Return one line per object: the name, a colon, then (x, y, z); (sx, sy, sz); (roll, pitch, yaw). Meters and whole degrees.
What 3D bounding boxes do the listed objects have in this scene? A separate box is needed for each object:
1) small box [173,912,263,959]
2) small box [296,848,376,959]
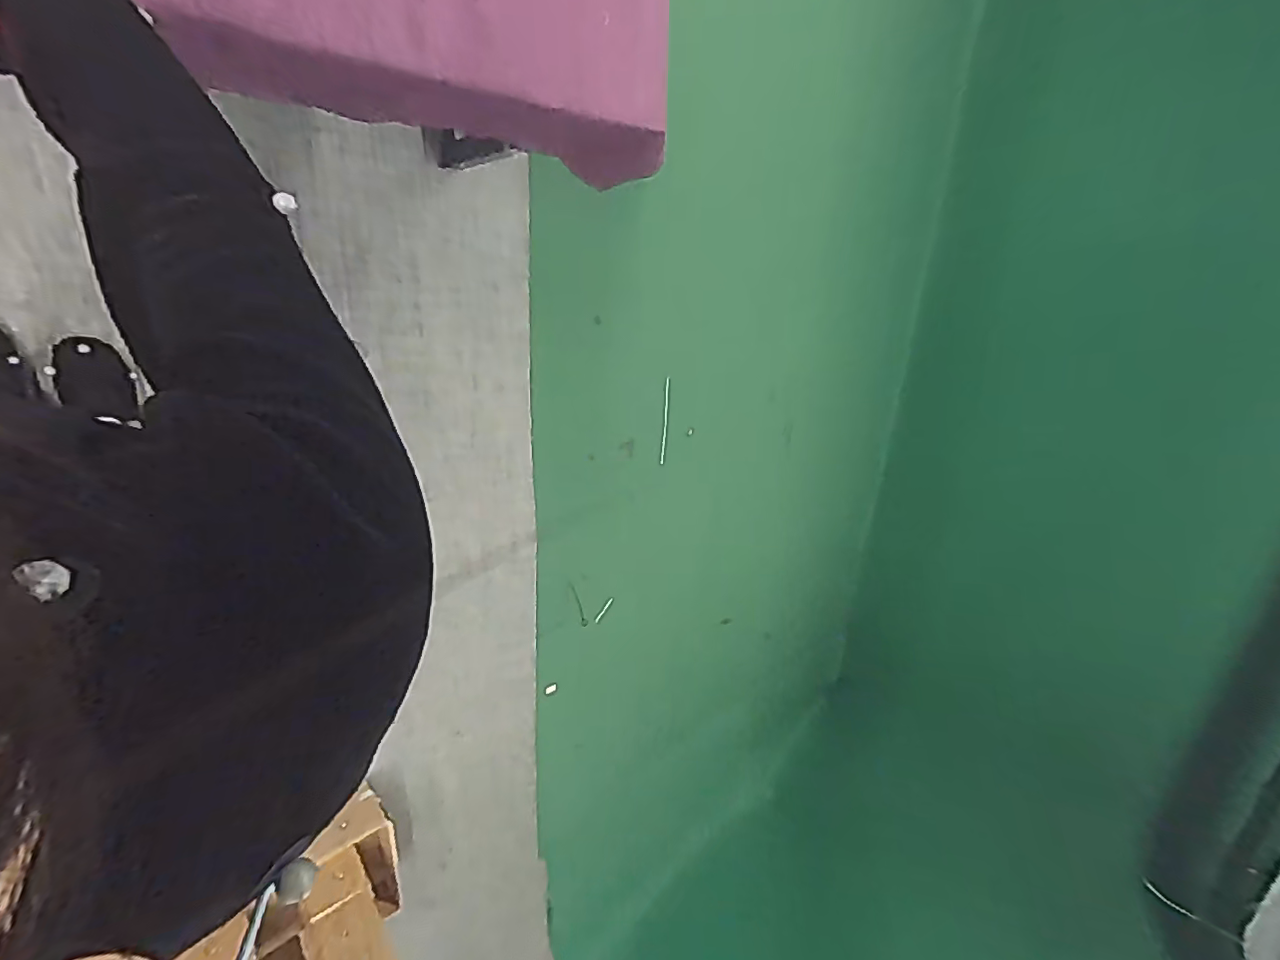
small box: (-1.098, 1.296, 1.420); (0.168, 0.176, 0.179); (-16, 116, -42)
small box: (-0.903, 1.243, 1.604); (0.168, 0.176, 0.179); (-10, 113, -43)
